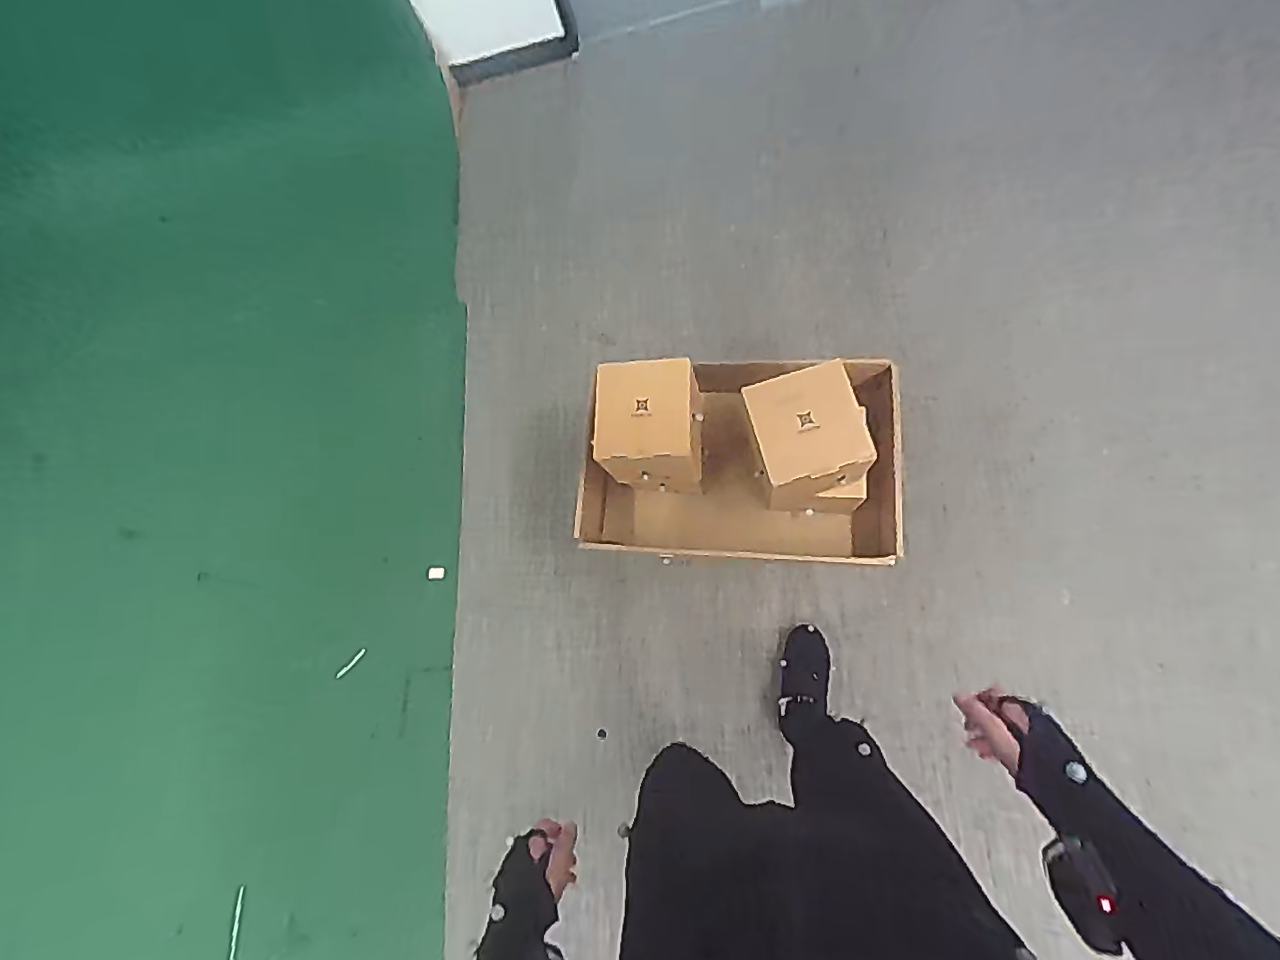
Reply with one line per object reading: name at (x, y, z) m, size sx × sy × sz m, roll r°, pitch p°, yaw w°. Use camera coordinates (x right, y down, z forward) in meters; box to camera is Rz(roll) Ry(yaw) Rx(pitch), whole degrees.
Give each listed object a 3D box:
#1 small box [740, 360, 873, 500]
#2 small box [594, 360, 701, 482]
small box at (0.277, -0.072, 0.926) m, size 0.168 × 0.176 × 0.179 m, roll -16°, pitch 73°, yaw 8°
small box at (0.020, -0.102, 0.995) m, size 0.168 × 0.176 × 0.179 m, roll -1°, pitch 76°, yaw 13°
